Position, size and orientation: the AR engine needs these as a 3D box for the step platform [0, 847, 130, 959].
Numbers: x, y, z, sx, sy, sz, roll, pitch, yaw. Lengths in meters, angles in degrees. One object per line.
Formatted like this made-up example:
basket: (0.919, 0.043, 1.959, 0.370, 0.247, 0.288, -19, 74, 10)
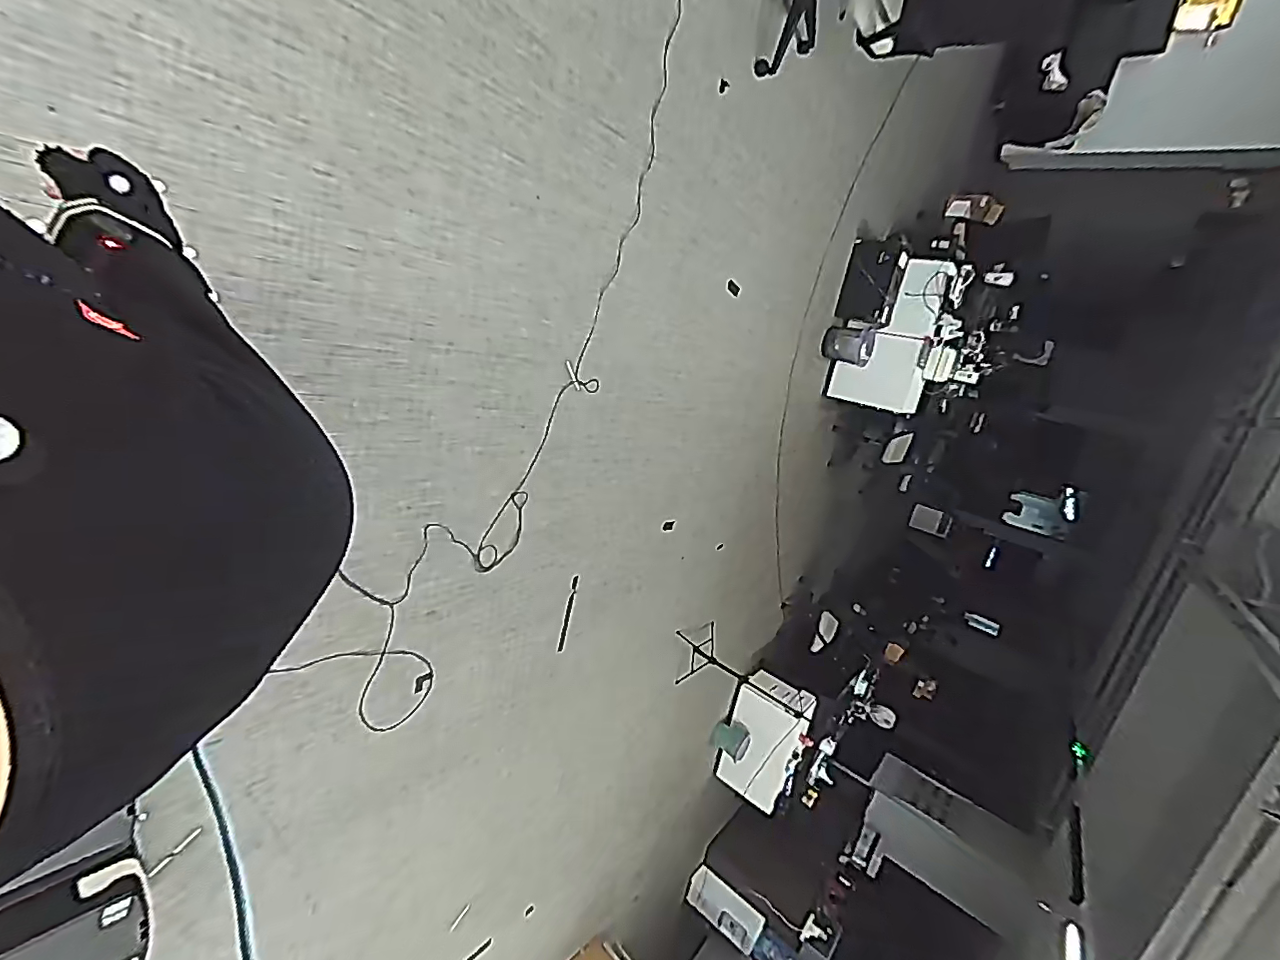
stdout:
step platform: (-1.491, 1.093, 1.084, 0.684, 0.204, 0.286, -9, 115, -50)
